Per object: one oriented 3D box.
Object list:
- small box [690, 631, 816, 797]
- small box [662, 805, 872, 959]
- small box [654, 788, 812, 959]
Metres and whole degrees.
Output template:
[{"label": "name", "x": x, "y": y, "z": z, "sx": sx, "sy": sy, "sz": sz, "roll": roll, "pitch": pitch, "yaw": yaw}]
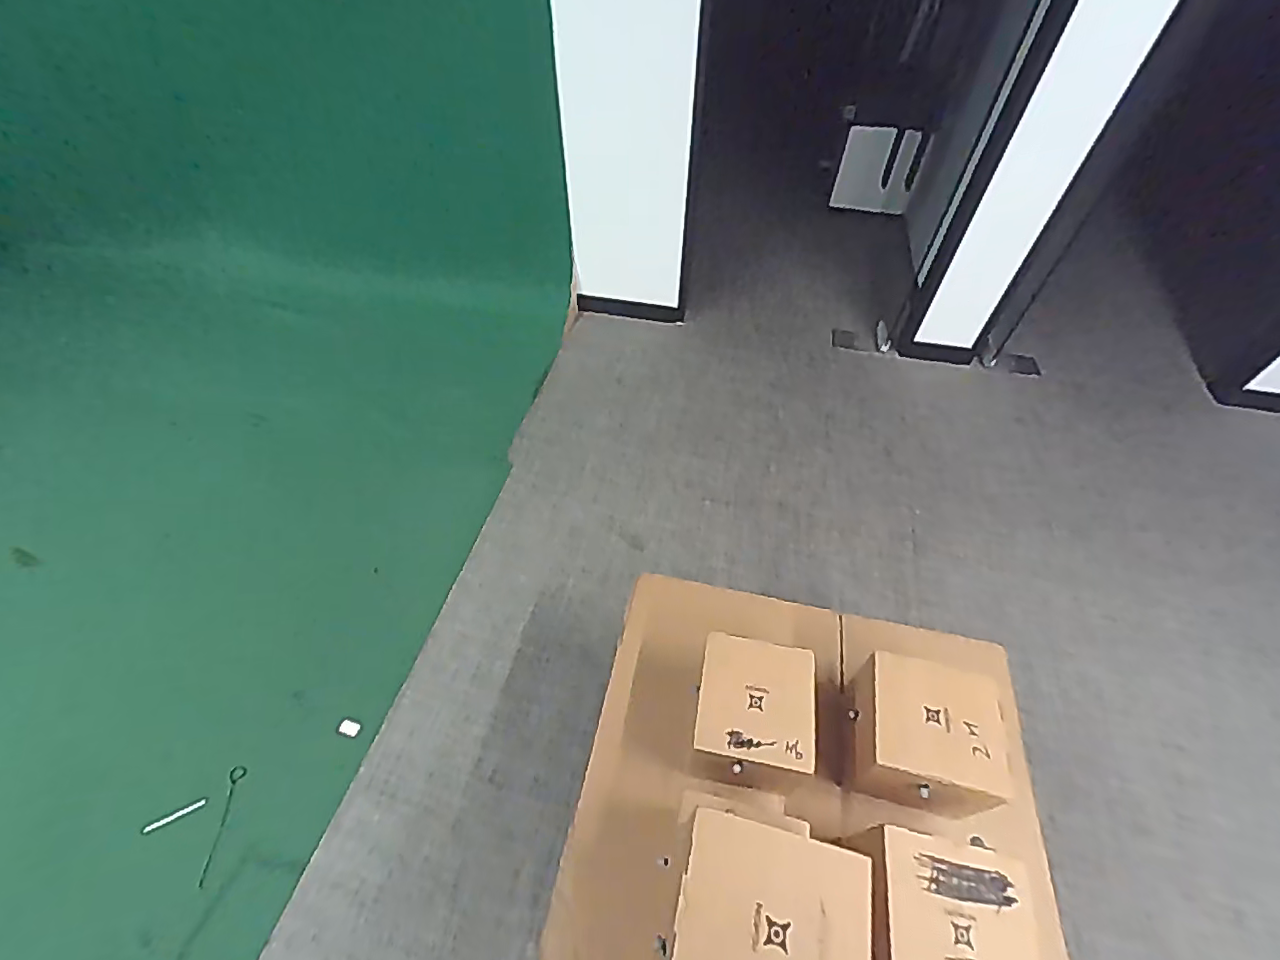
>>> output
[{"label": "small box", "x": 0.170, "y": 0.363, "z": 0.836, "sx": 0.168, "sy": 0.176, "sz": 0.179, "roll": 8, "pitch": 50, "yaw": 8}, {"label": "small box", "x": 0.120, "y": 0.459, "z": 0.550, "sx": 0.179, "sy": 0.176, "sz": 0.168, "roll": 12, "pitch": 53, "yaw": 9}, {"label": "small box", "x": 0.118, "y": 0.531, "z": 0.701, "sx": 0.168, "sy": 0.176, "sz": 0.179, "roll": 11, "pitch": 51, "yaw": 9}]
